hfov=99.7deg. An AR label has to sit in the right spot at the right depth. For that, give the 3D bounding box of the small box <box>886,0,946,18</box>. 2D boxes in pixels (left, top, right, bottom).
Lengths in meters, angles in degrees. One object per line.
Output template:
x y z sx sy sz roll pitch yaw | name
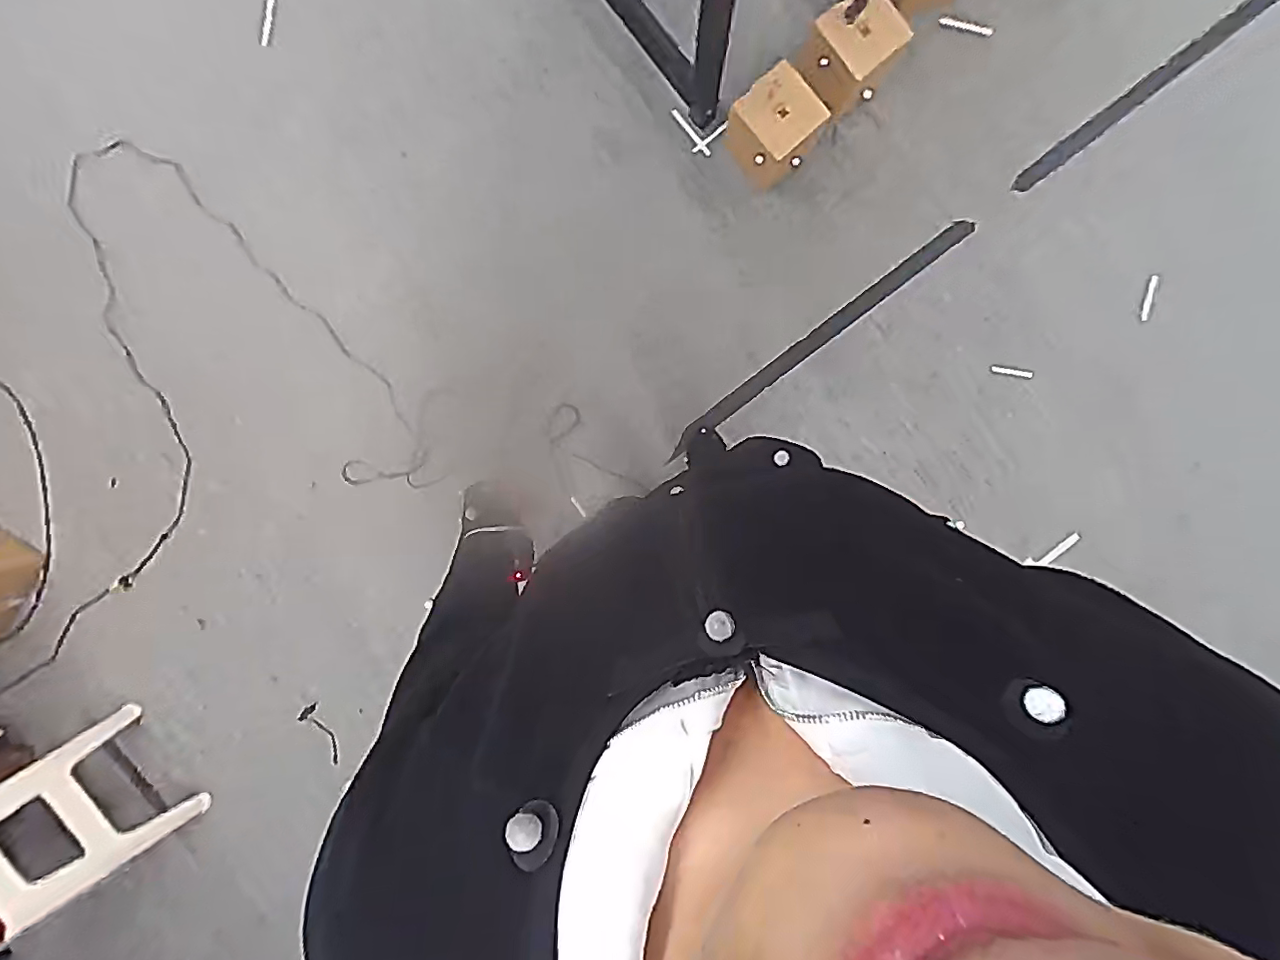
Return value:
0.707 -1.296 1.325 0.179 0.176 0.168 -17 92 4 | small box

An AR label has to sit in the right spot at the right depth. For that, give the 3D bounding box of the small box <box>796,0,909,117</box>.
0.517 -1.063 1.345 0.168 0.176 0.179 -39 93 4 | small box
